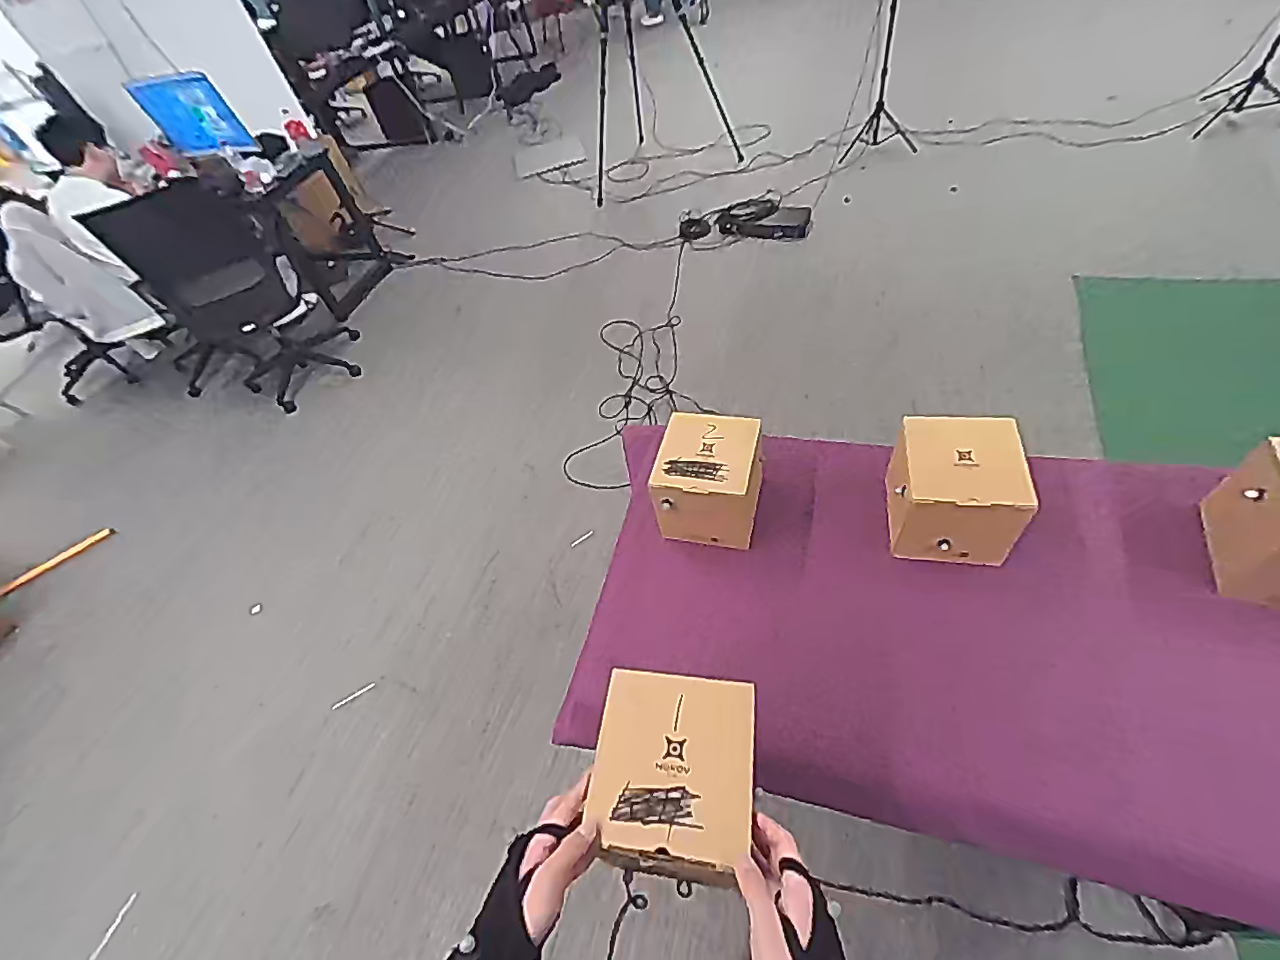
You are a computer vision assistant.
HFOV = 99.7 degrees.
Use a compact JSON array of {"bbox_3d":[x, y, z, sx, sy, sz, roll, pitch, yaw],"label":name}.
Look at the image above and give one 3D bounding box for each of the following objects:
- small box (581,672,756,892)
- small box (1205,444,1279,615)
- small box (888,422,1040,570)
[{"bbox_3d":[0.046,0.345,0.617,0.168,0.176,0.179,3,47,11],"label":"small box"},{"bbox_3d":[0.939,0.079,0.745,0.168,0.176,0.179,11,56,22],"label":"small box"},{"bbox_3d":[0.515,0.026,0.890,0.168,0.176,0.179,3,54,15],"label":"small box"}]
